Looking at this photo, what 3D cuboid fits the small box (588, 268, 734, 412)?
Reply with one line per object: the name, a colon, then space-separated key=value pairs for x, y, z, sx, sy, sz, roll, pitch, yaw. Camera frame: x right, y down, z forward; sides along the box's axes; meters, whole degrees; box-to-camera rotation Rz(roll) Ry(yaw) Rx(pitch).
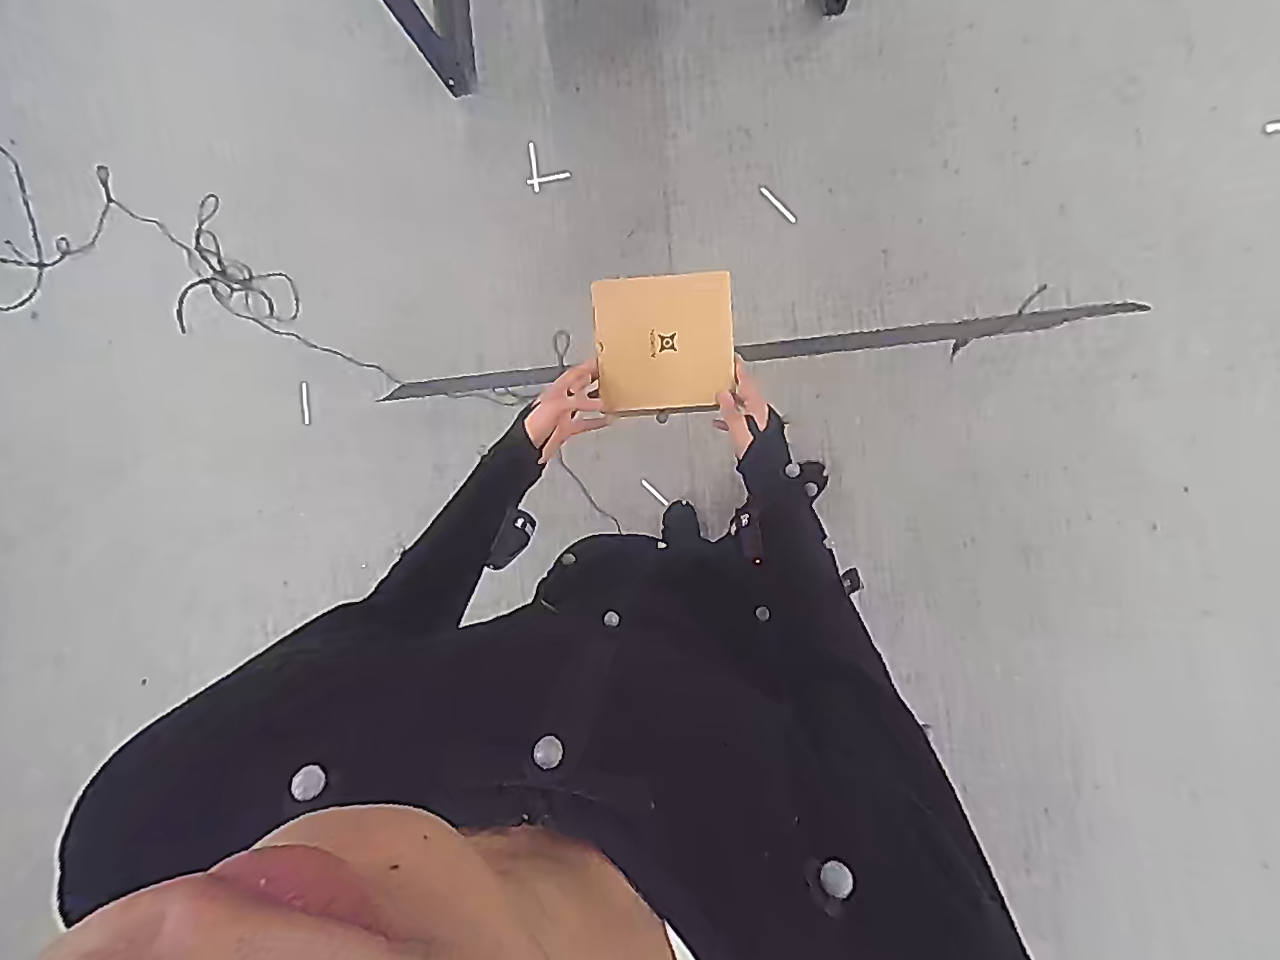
small box: x=0.030 y=-0.185 z=0.759 sx=0.179 sy=0.176 sz=0.168 roll=-4 pitch=95 yaw=4
